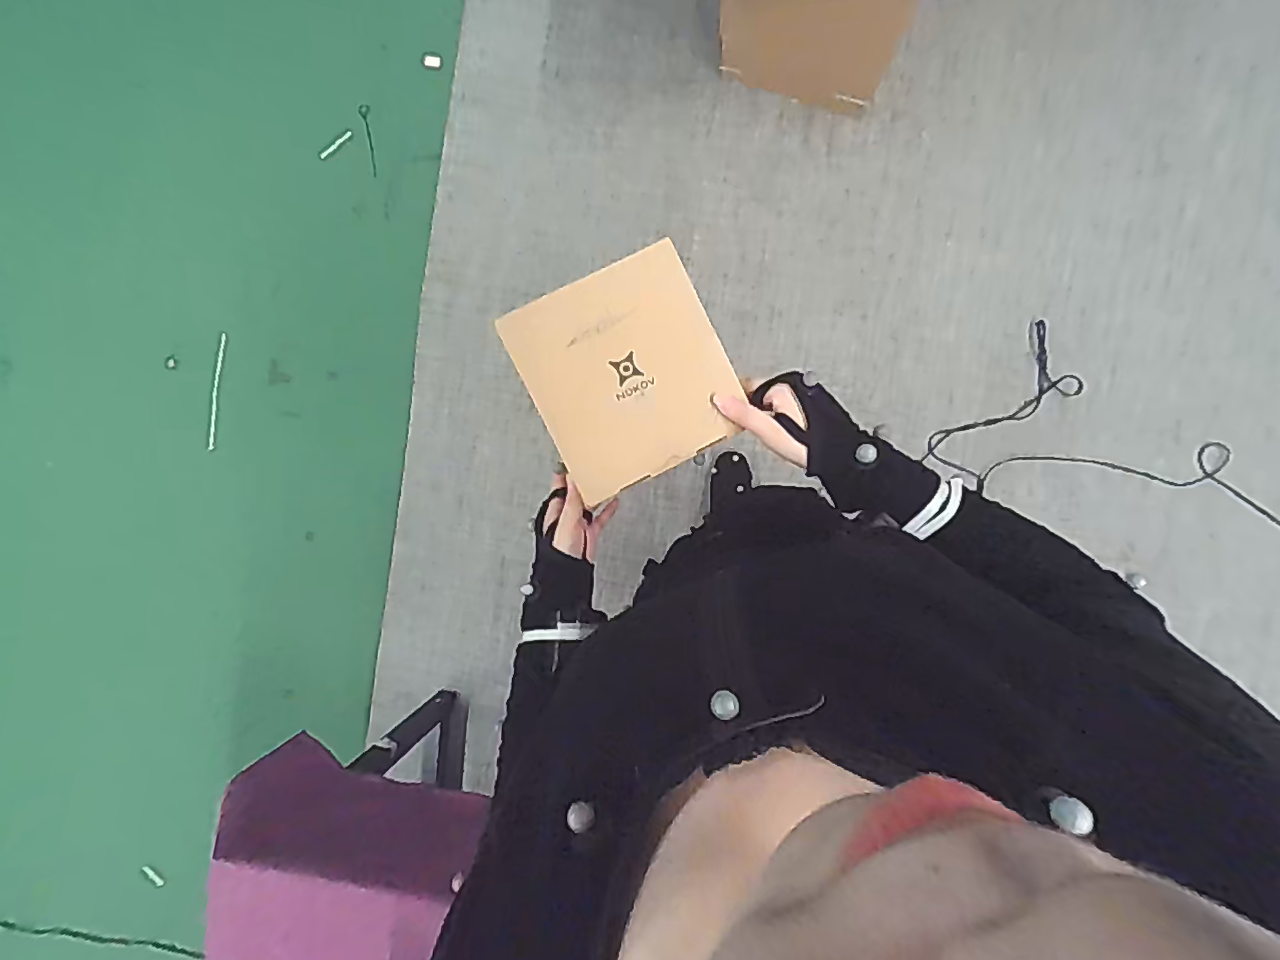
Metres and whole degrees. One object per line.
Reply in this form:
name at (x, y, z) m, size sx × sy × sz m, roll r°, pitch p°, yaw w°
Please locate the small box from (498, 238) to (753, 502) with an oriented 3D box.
small box at (-0.016, -0.095, 0.532) m, size 0.168 × 0.176 × 0.179 m, roll -26°, pitch 94°, yaw -5°
